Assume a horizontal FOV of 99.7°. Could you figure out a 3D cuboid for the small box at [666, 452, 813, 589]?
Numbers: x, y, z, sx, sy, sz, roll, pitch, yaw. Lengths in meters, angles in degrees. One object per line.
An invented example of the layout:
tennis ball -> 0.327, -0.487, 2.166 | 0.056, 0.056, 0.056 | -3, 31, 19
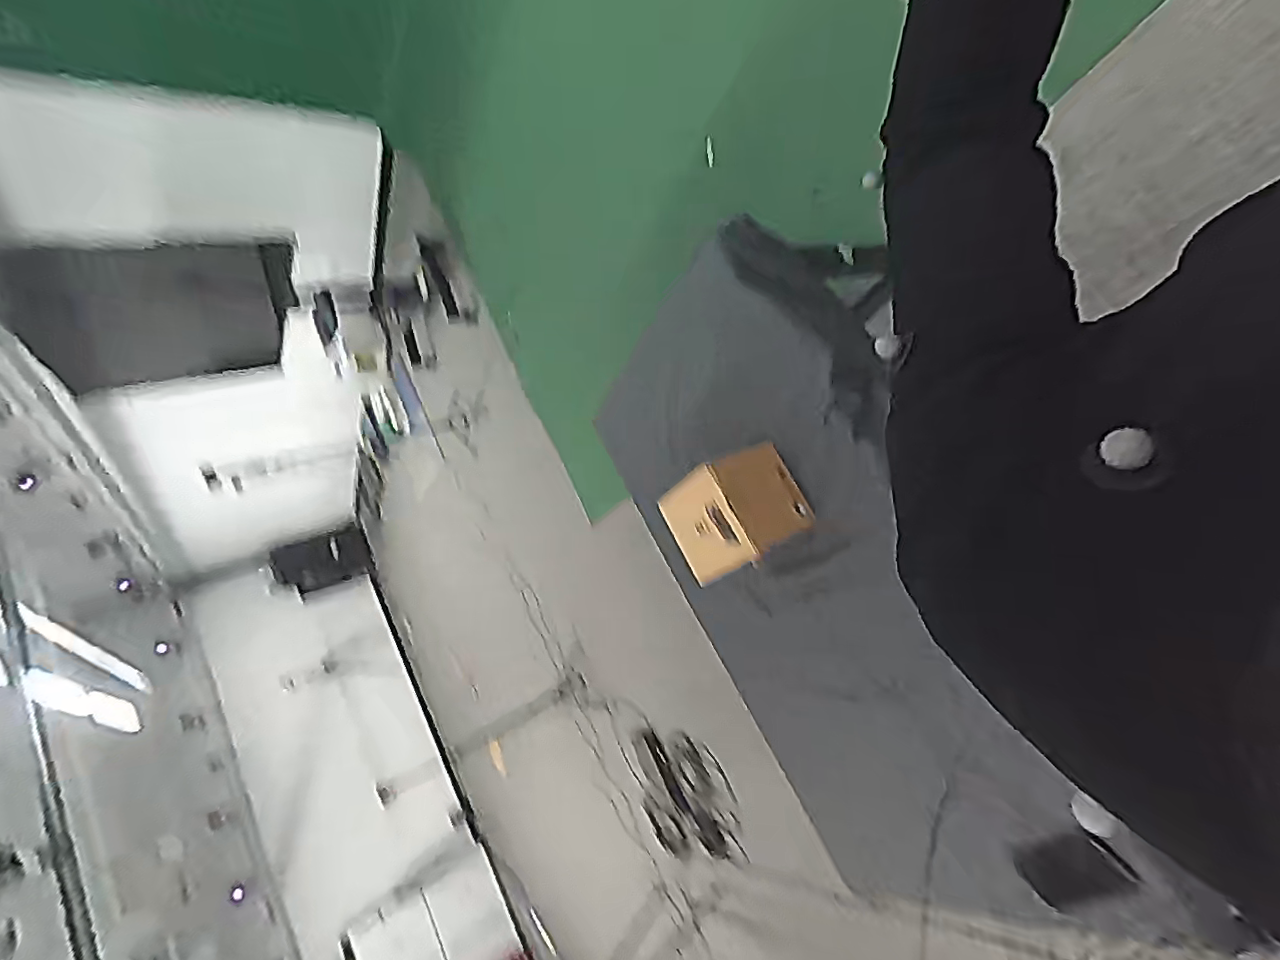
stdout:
small box -> 0.184, 0.069, 0.976 | 0.168, 0.176, 0.179 | 61, 144, 13
